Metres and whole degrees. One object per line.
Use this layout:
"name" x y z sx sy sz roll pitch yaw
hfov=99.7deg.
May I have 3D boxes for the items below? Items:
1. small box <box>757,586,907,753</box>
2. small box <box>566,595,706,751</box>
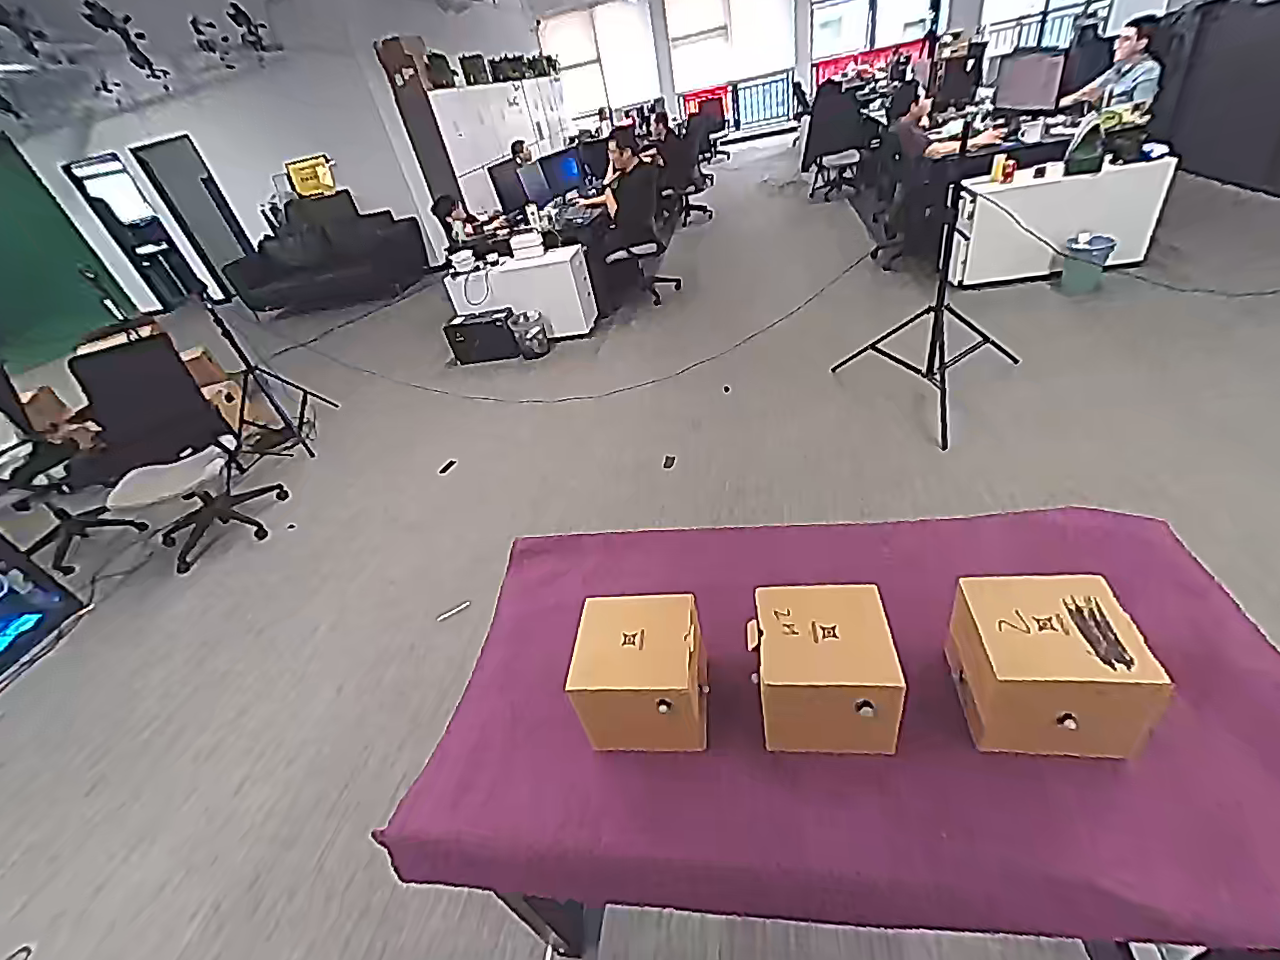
"small box" 0.265 0.274 0.783 0.179 0.176 0.168 -5 36 12
"small box" 0.005 0.299 0.836 0.179 0.176 0.168 -5 36 10
